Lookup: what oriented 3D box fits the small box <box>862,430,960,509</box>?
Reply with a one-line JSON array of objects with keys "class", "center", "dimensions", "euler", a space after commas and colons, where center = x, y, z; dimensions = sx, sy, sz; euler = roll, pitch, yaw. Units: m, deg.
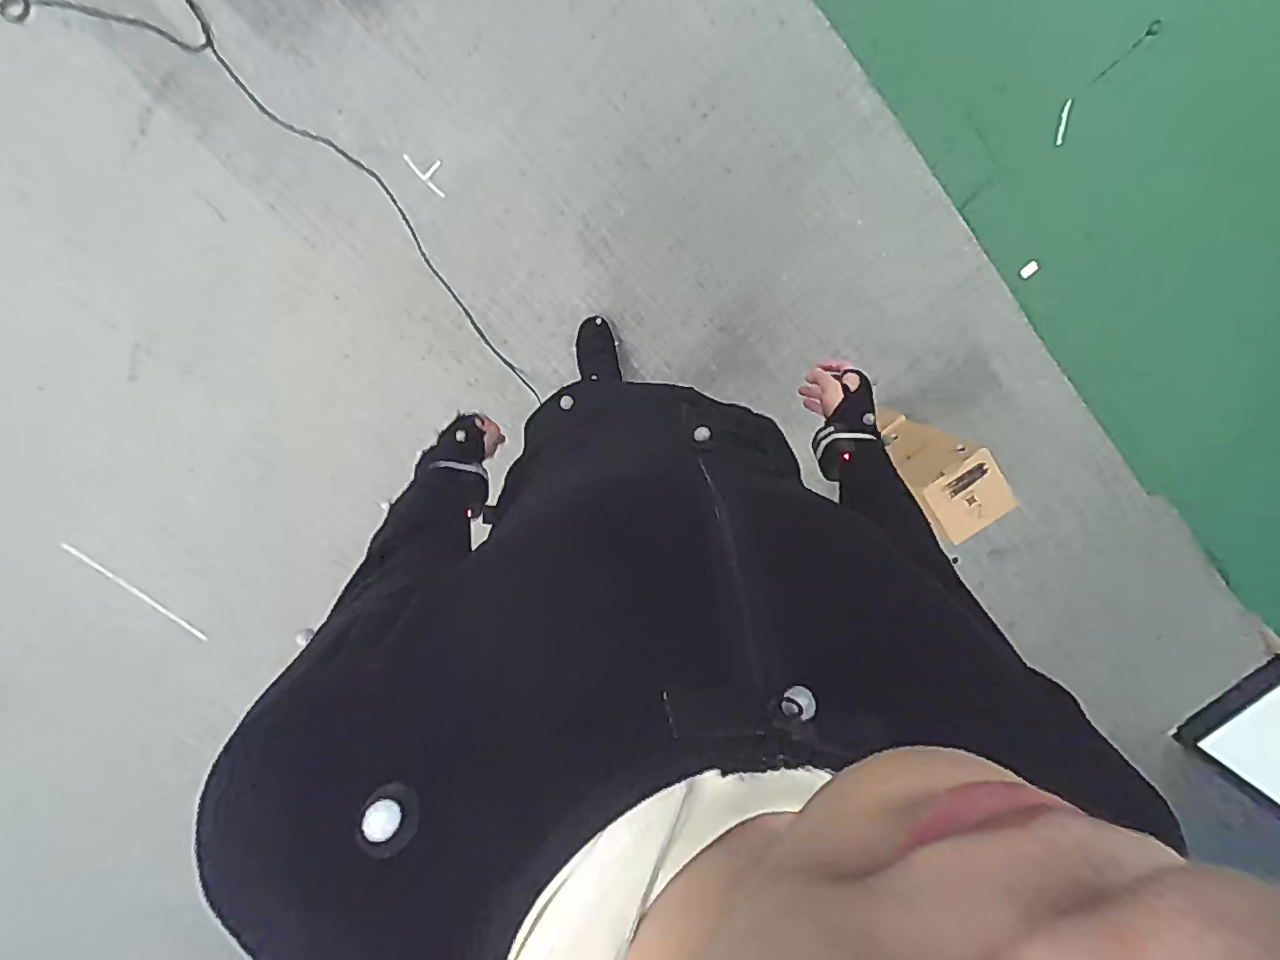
[{"class": "small box", "center": [0.720, -0.034, 1.448], "dimensions": [0.179, 0.176, 0.168], "euler": [-7, 105, -2]}]

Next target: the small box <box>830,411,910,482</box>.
[{"class": "small box", "center": [0.695, -0.089, 1.592], "dimensions": [0.168, 0.176, 0.179], "euler": [-38, 106, 7]}]
